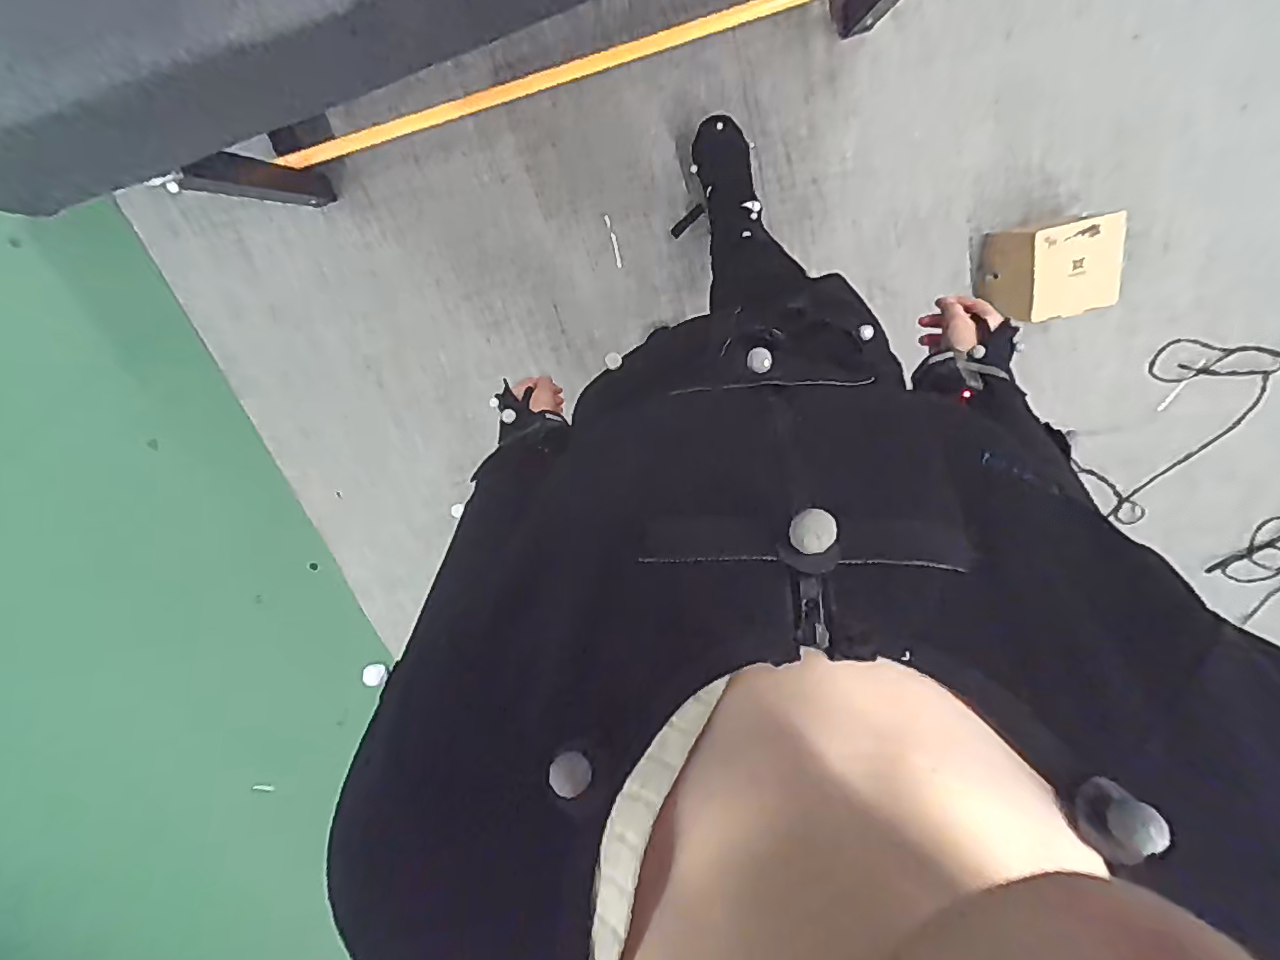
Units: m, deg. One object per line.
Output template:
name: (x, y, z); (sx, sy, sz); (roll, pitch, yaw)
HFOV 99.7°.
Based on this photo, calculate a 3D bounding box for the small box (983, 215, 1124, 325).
small box: (0.842, -0.437, 1.122); (0.168, 0.176, 0.179); (-11, 113, 5)
